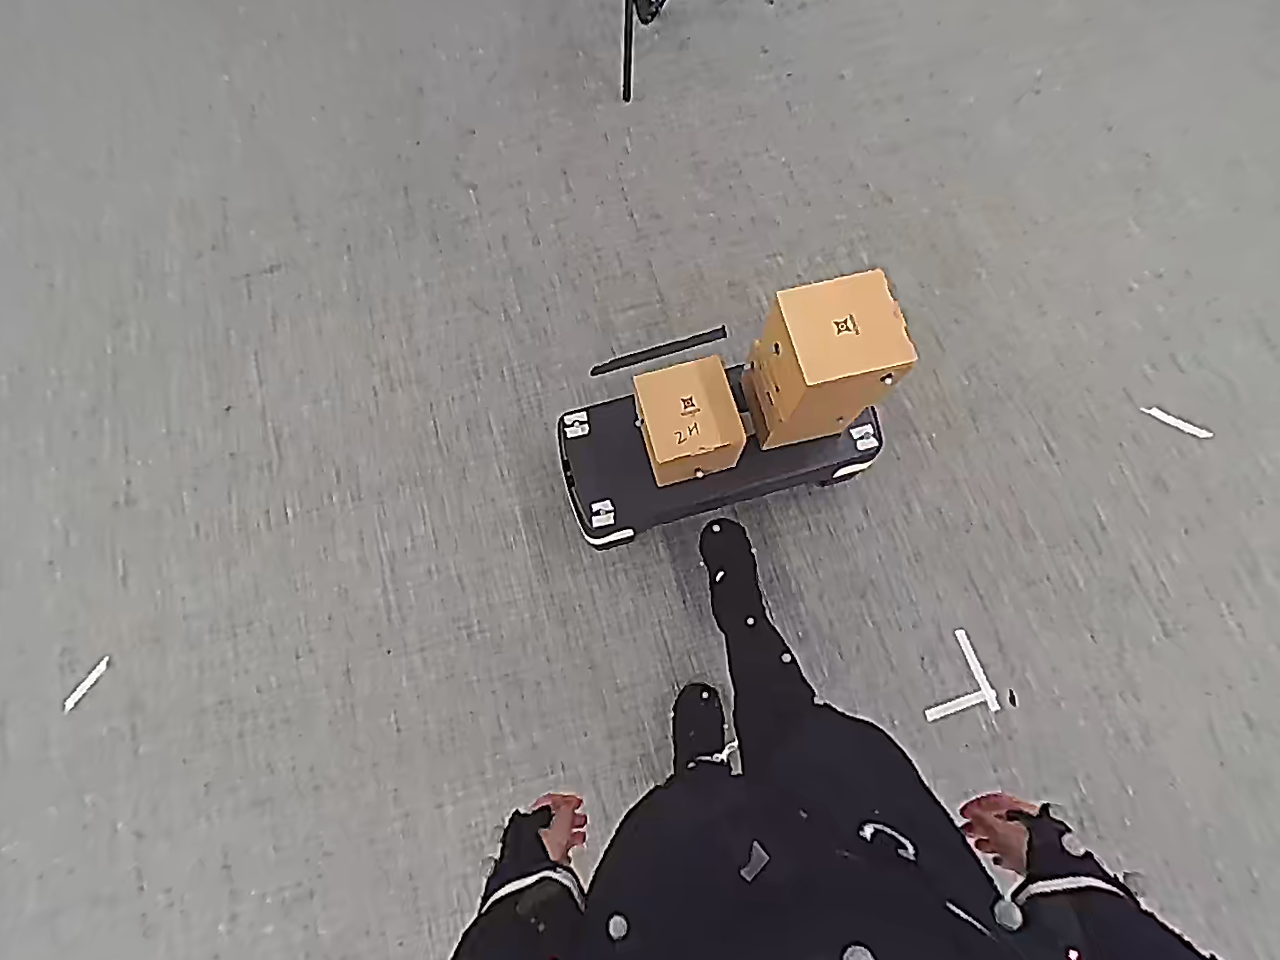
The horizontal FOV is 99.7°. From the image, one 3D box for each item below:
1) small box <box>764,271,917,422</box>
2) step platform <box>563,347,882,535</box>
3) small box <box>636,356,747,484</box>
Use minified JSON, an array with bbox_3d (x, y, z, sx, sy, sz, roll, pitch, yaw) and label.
[{"bbox_3d":[0.314,-0.211,0.896,0.179,0.176,0.168,-13,75,-2],"label":"small box"},{"bbox_3d":[0.173,-0.103,1.220,0.684,0.204,0.286,-16,75,-2],"label":"step platform"},{"bbox_3d":[0.092,-0.109,1.045,0.168,0.176,0.179,-14,75,-2],"label":"small box"}]
